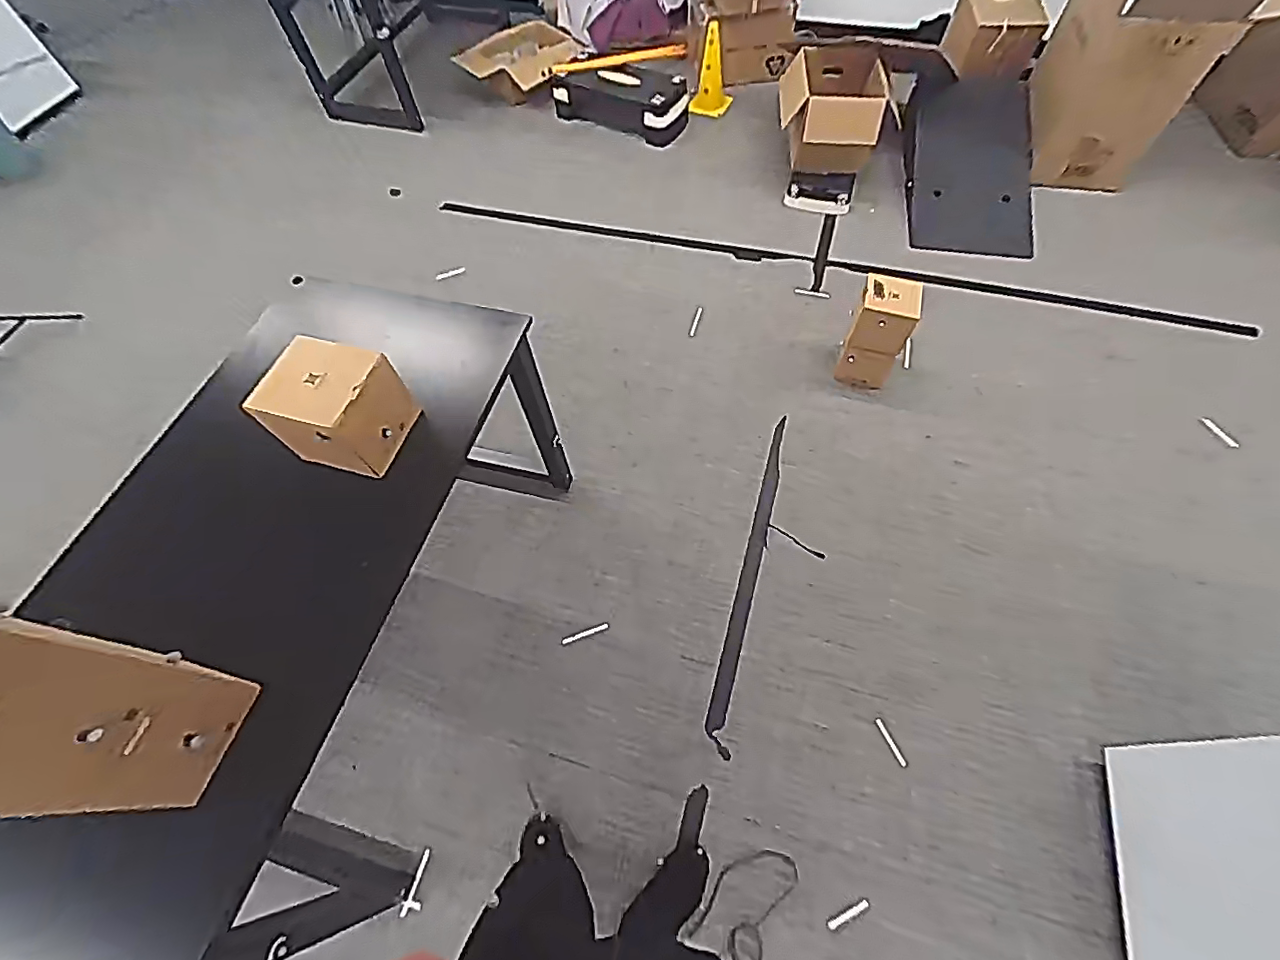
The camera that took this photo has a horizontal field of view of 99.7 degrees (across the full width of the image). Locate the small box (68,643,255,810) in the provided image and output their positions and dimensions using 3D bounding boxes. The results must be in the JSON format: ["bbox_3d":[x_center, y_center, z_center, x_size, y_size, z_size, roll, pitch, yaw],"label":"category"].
[{"bbox_3d":[-0.680,0.323,0.727,0.179,0.176,0.168,12,62,9],"label":"small box"}]

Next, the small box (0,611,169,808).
[{"bbox_3d":[-0.689,0.242,0.584,0.179,0.176,0.168,12,63,9],"label":"small box"}]

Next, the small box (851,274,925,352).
[{"bbox_3d":[0.808,-0.543,1.773,0.179,0.176,0.168,14,63,9],"label":"small box"}]

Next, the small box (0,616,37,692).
[{"bbox_3d":[-0.695,0.163,0.442,0.179,0.176,0.168,12,64,9],"label":"small box"}]

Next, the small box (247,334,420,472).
[{"bbox_3d":[-0.535,-0.133,0.973,0.179,0.176,0.168,13,63,10],"label":"small box"}]
